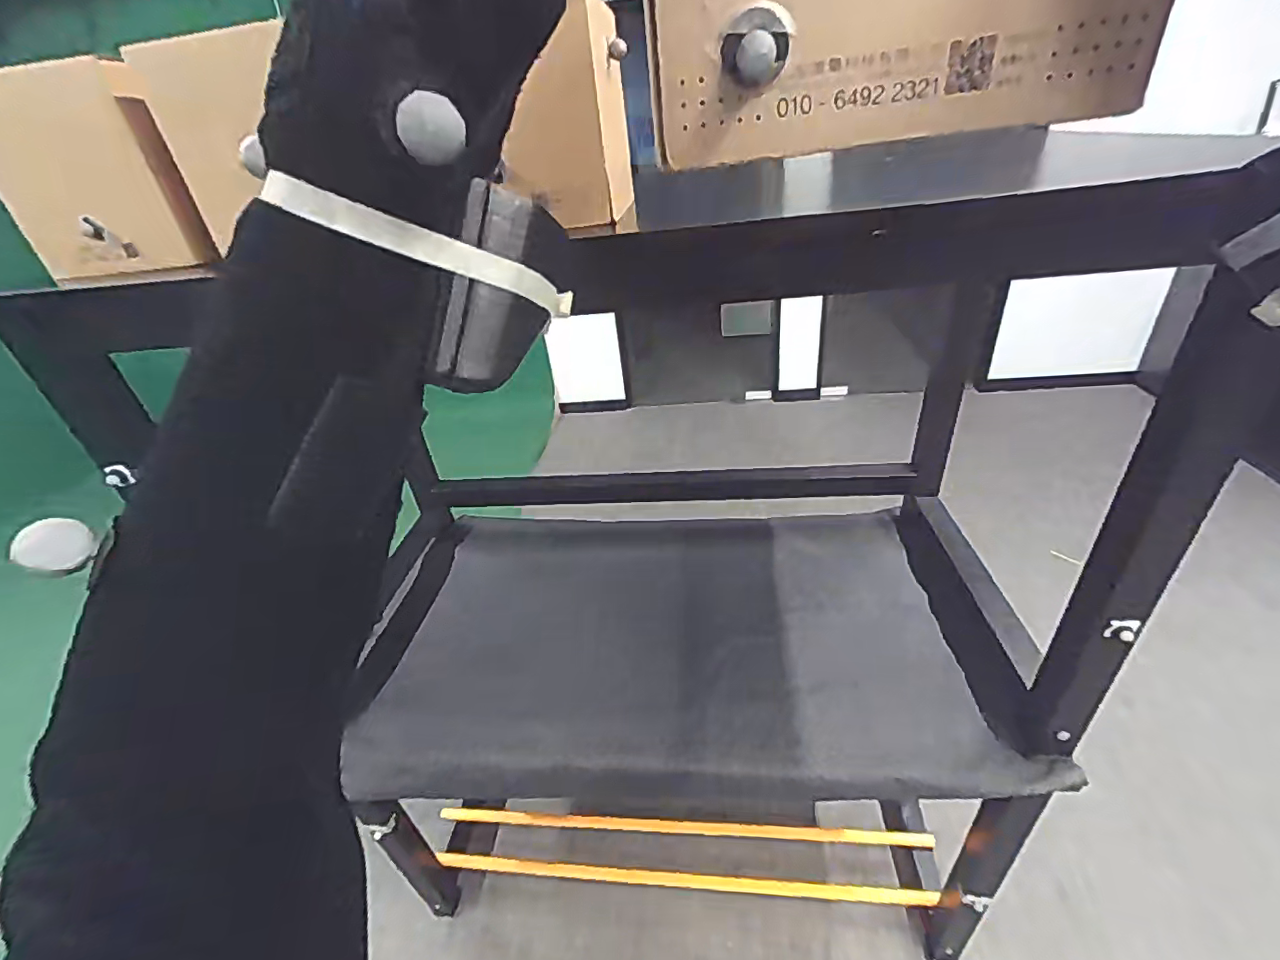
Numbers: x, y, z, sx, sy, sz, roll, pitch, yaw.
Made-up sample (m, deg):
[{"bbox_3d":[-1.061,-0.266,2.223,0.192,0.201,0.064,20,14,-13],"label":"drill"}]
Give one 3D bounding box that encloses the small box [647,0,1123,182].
[{"bbox_3d":[0.084,-0.235,0.235,0.168,0.176,0.179,-5,30,4],"label":"small box"}]
